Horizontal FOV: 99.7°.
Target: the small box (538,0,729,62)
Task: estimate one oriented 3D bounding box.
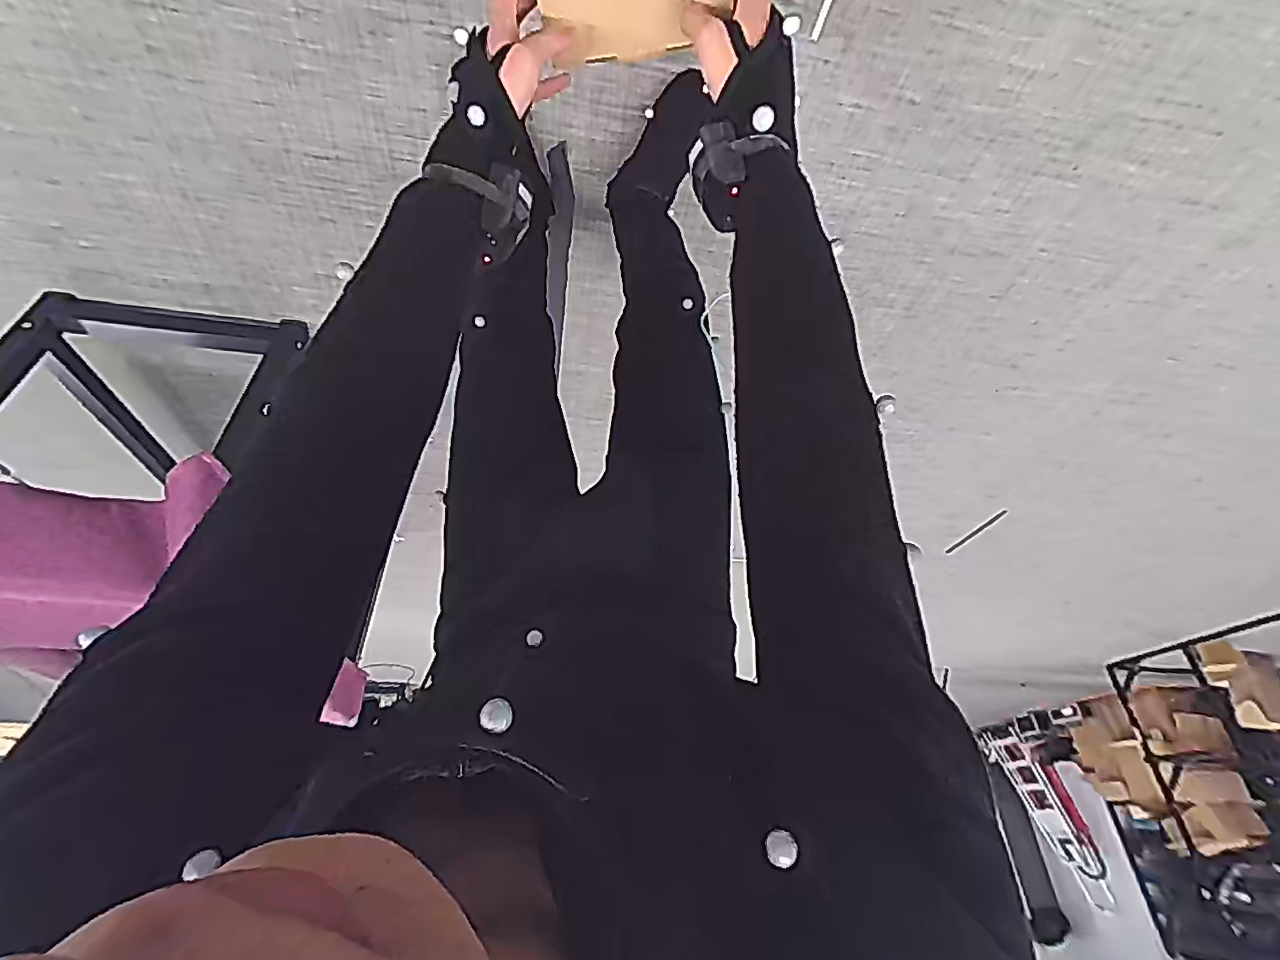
[{"bbox_3d":[-0.010,-0.503,0.460,0.168,0.176,0.179,-4,148,6],"label":"small box"}]
